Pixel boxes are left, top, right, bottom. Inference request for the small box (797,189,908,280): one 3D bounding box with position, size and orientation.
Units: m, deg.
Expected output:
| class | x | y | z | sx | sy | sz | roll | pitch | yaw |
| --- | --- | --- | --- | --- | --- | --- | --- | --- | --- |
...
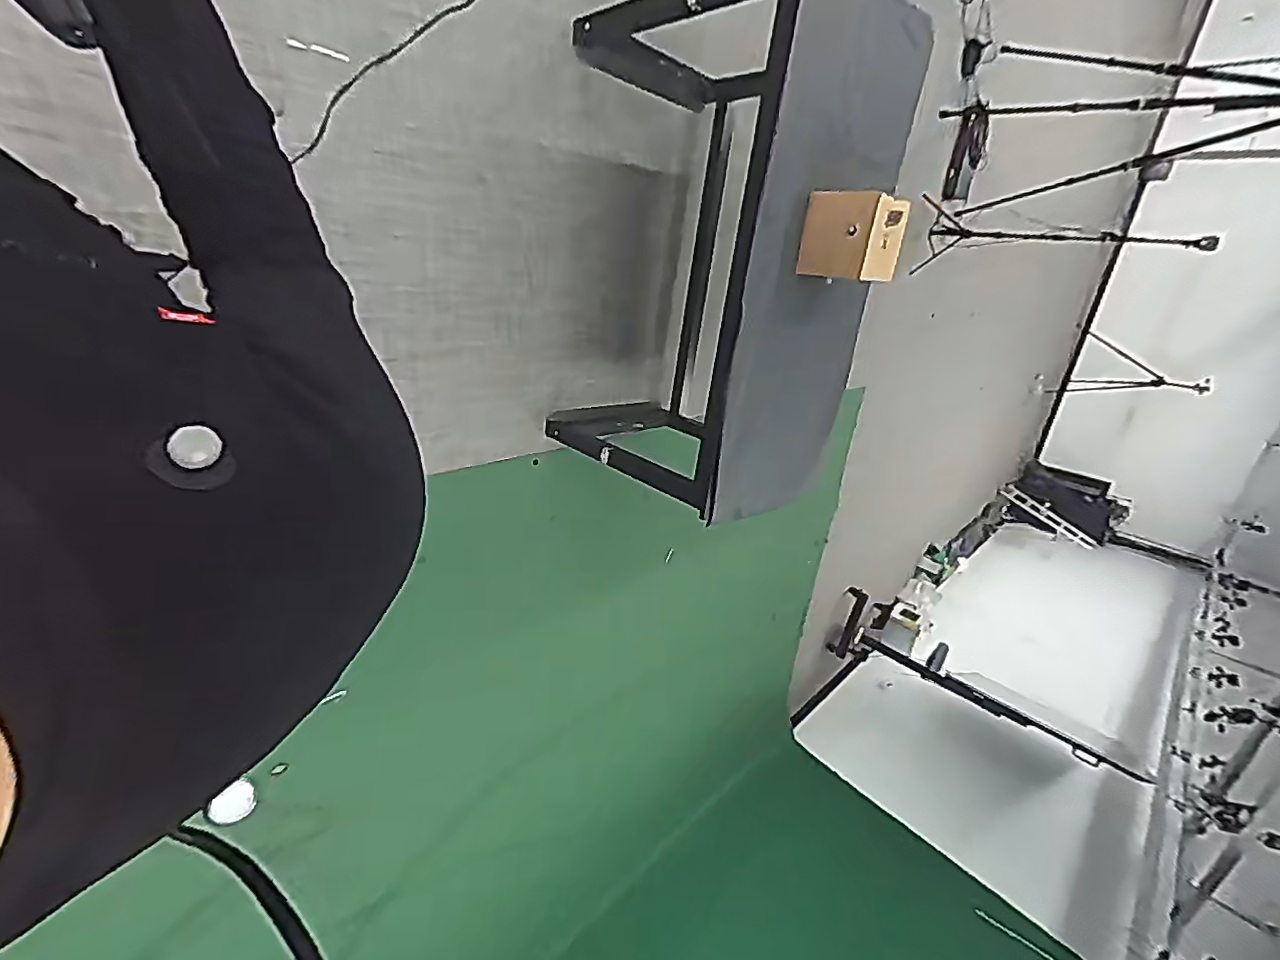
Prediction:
| class | x | y | z | sx | sy | sz | roll | pitch | yaw |
| --- | --- | --- | --- | --- | --- | --- | --- | --- | --- |
| small box | 0.489 | -0.570 | 1.260 | 0.168 | 0.176 | 0.179 | -16 | 122 | -41 |
